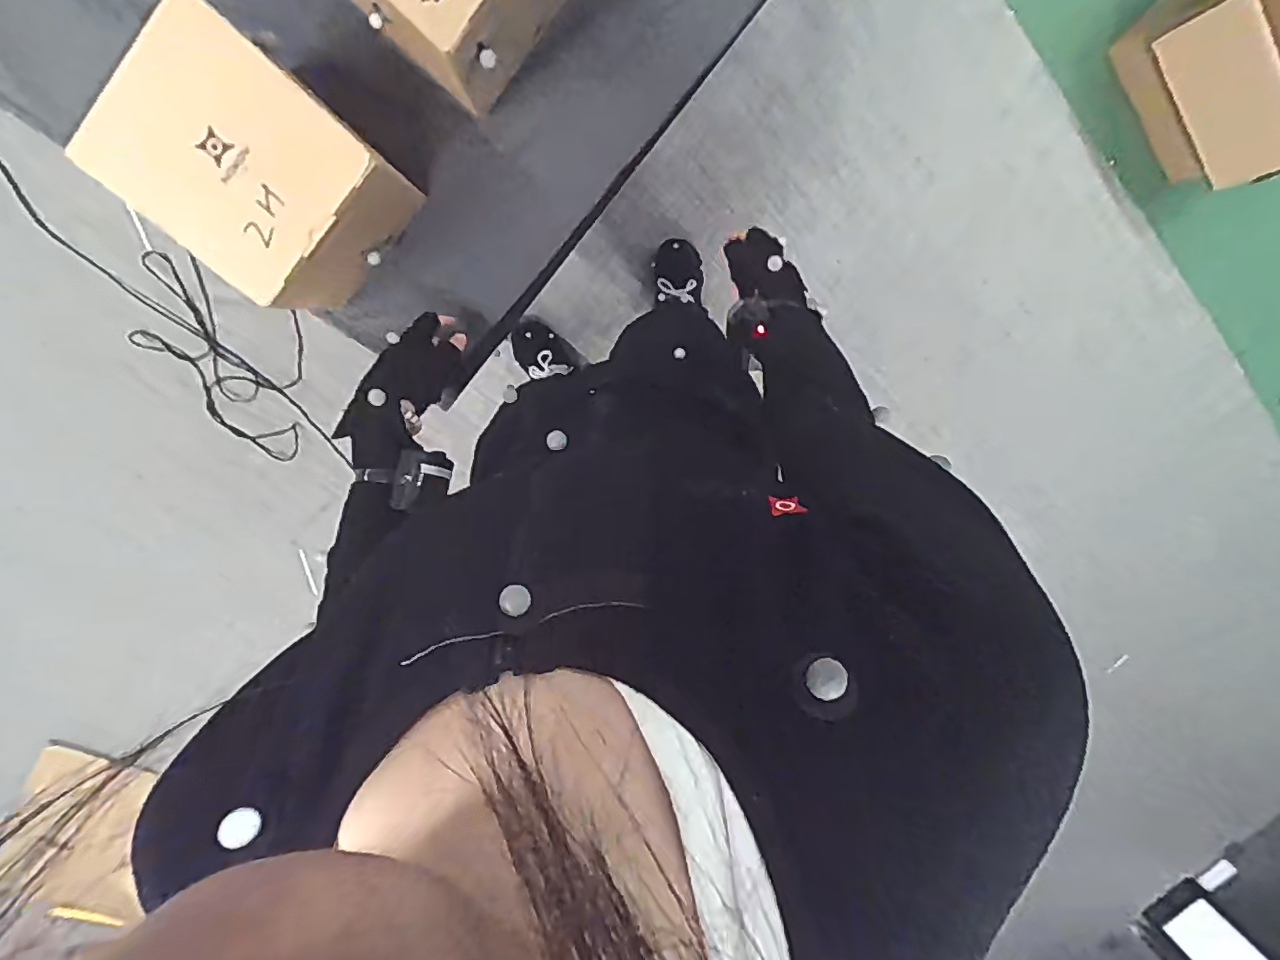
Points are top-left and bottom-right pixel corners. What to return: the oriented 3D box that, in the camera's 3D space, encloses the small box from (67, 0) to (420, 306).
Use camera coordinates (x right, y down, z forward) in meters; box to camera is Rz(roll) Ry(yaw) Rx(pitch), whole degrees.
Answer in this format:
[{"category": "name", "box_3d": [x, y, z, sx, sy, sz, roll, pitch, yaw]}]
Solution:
[{"category": "small box", "box_3d": [-0.348, -0.284, 0.516, 0.179, 0.176, 0.168, 41, 99, -16]}]
